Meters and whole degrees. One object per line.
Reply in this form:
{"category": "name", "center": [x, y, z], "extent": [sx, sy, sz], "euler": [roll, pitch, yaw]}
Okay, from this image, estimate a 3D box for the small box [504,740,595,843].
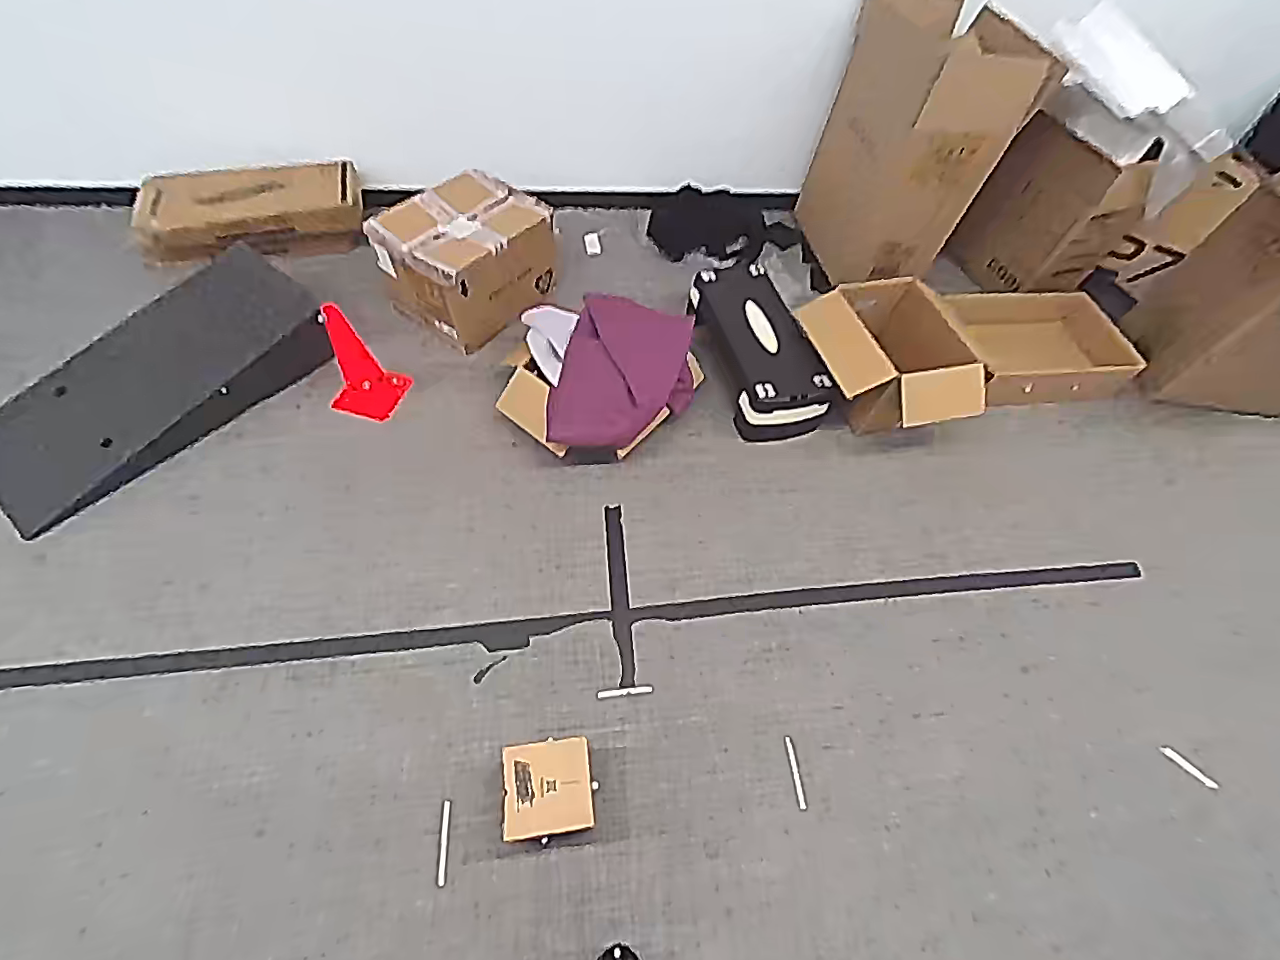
{"category": "small box", "center": [-0.190, 0.667, 1.154], "extent": [0.179, 0.176, 0.168], "euler": [-5, 58, -8]}
